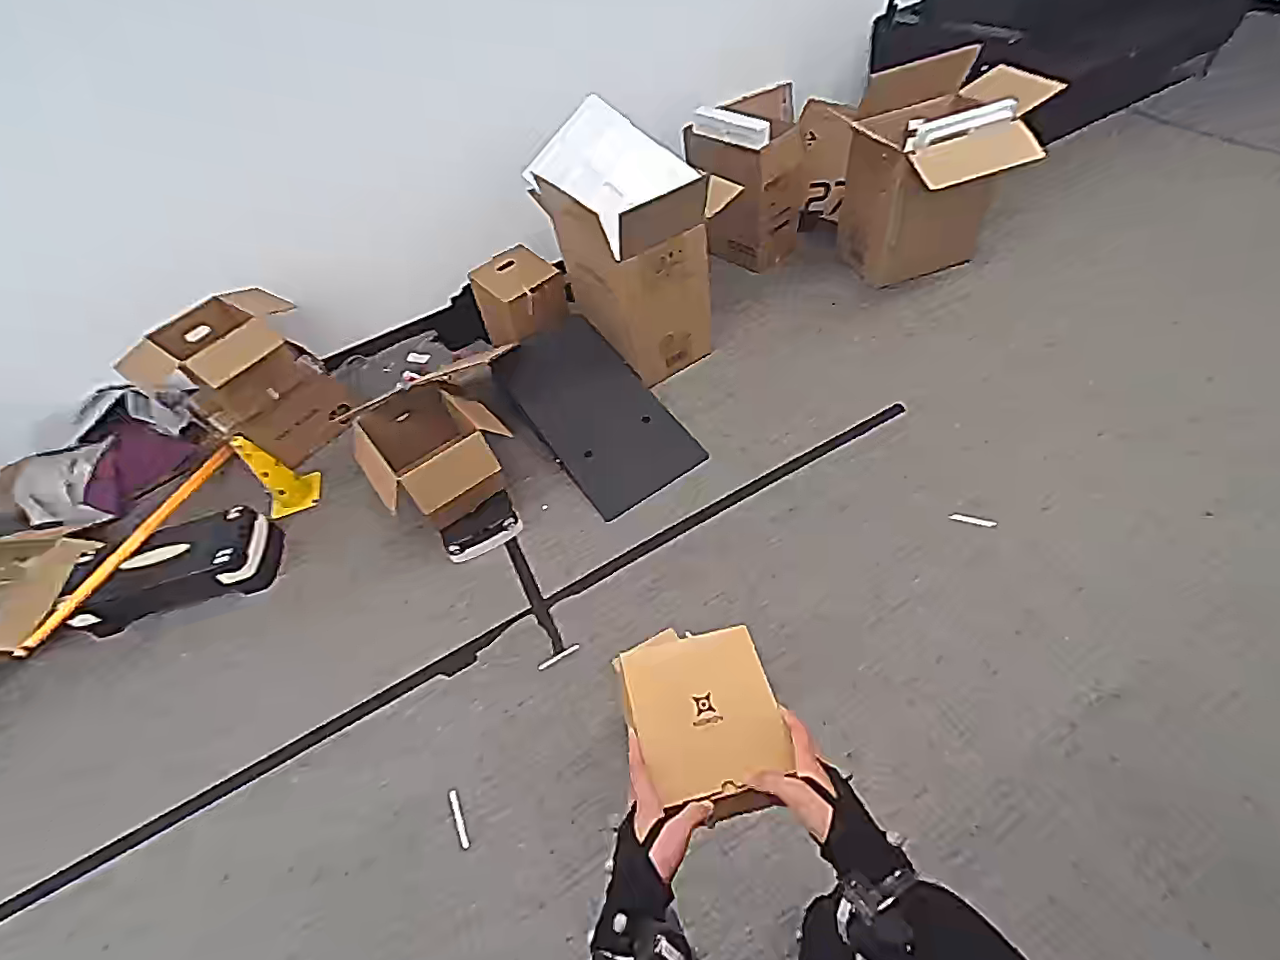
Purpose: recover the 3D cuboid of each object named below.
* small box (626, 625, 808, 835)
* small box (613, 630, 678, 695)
[{"bbox_3d":[0.078,0.308,0.668,0.168,0.176,0.179,-10,50,-9],"label":"small box"},{"bbox_3d":[0.054,0.517,1.357,0.179,0.176,0.168,-26,51,-13],"label":"small box"}]
